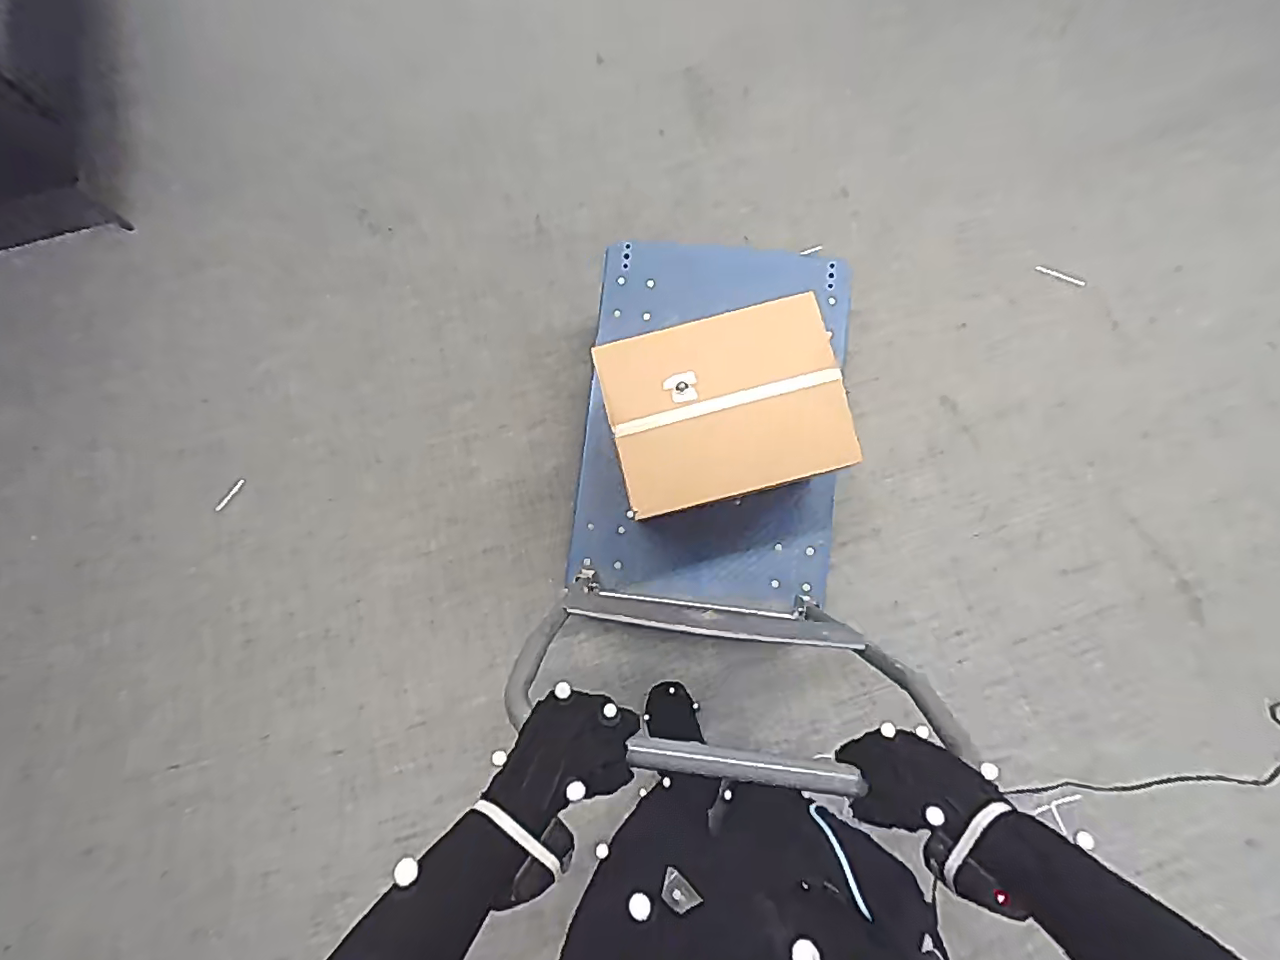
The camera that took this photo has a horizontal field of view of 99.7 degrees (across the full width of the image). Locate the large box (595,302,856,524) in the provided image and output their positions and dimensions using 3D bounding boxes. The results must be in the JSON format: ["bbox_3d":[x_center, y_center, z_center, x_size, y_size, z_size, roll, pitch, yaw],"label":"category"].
[{"bbox_3d":[0.153,-0.112,1.094,0.408,0.320,0.320,-14,85,1],"label":"large box"}]
